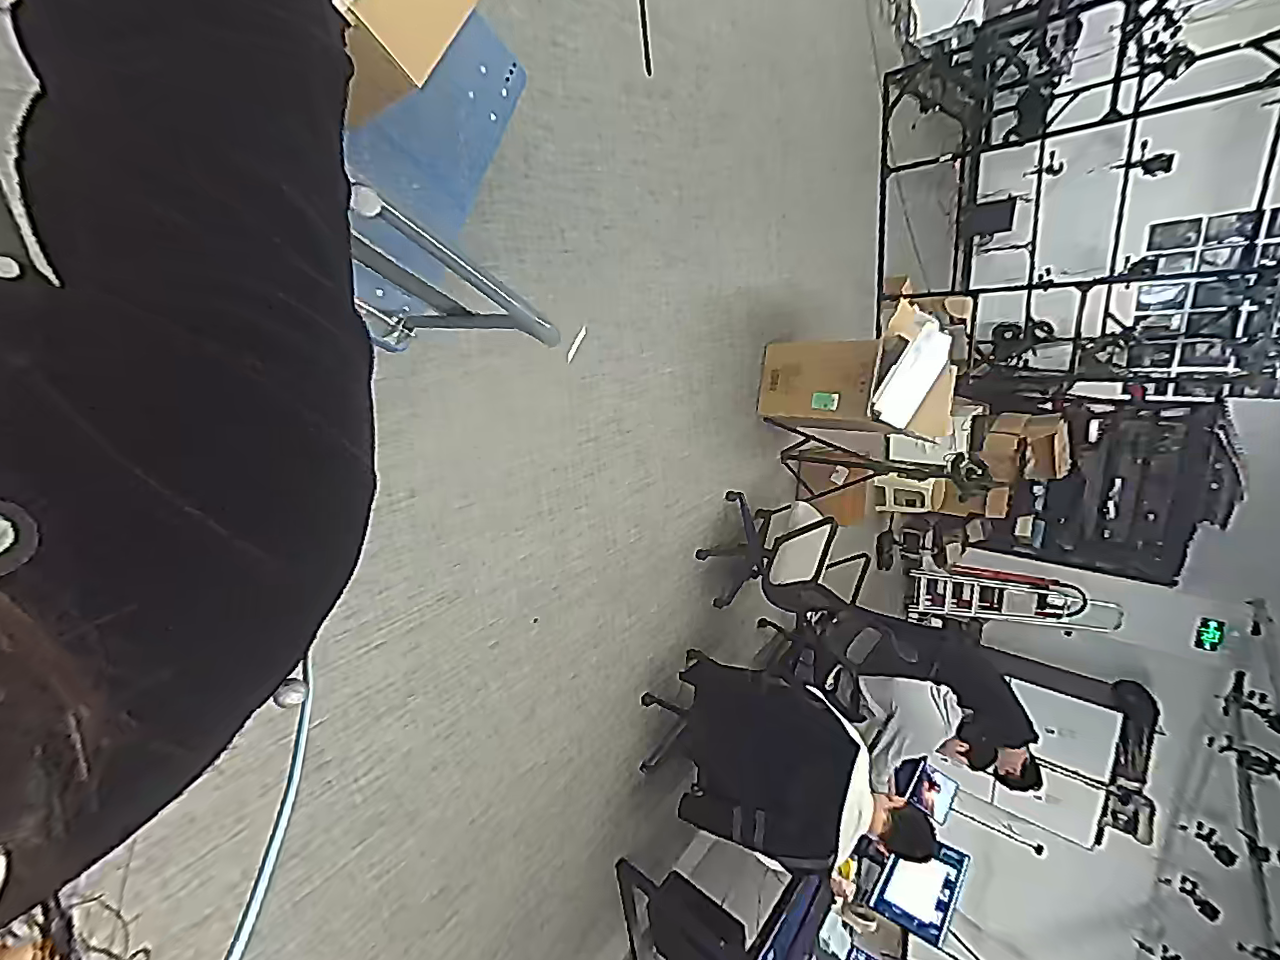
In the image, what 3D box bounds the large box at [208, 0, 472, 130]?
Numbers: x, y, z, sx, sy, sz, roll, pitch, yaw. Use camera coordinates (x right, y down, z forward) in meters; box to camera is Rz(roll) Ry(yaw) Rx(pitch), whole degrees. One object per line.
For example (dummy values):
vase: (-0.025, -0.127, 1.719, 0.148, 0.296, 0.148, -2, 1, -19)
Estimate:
large box: (-0.533, -0.979, 1.023, 0.320, 0.320, 0.408, 37, 70, -47)
